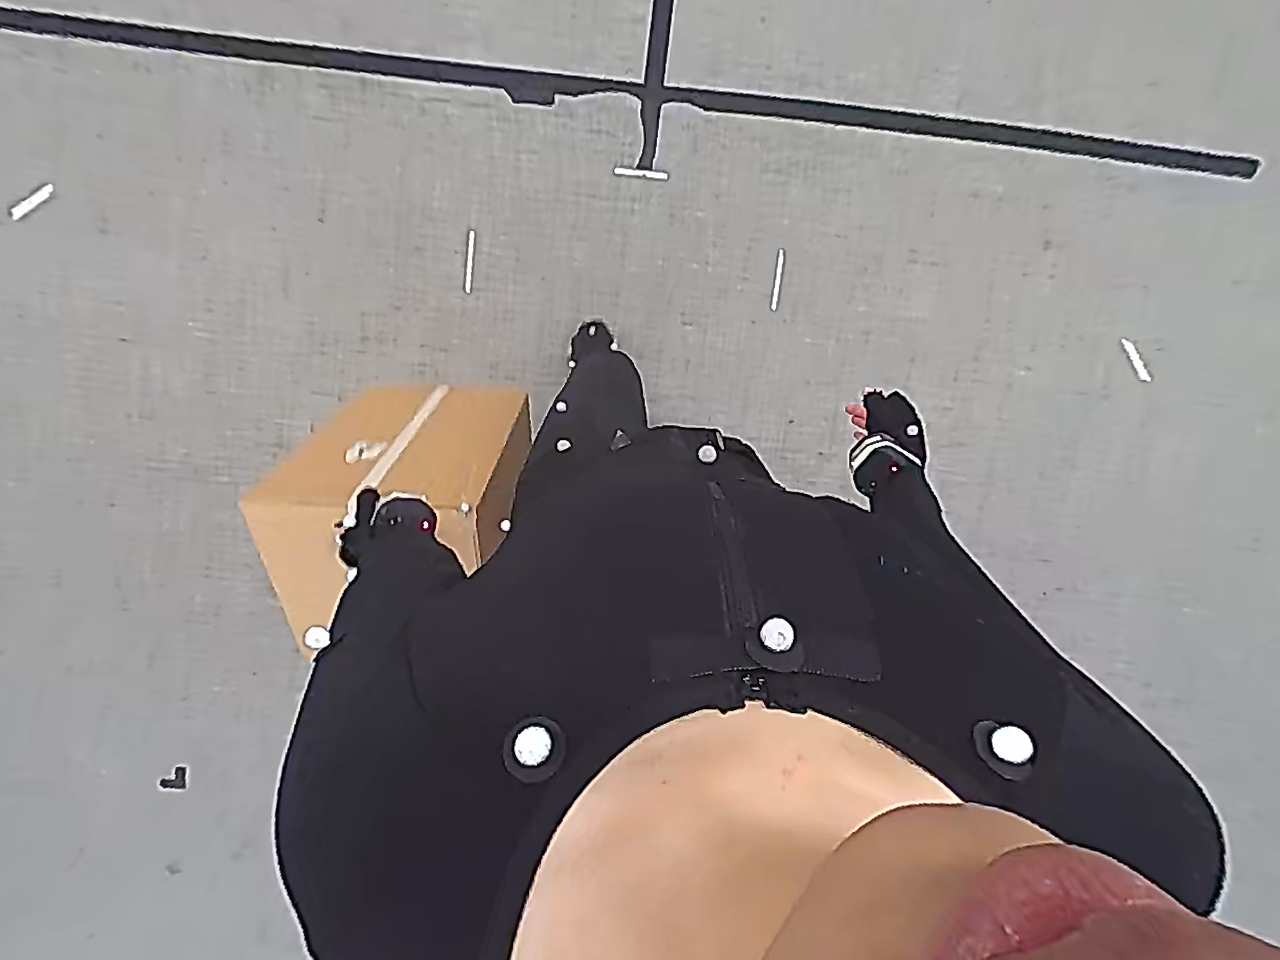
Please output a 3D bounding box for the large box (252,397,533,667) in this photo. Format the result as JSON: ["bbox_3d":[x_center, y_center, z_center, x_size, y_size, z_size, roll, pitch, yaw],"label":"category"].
[{"bbox_3d":[-0.381,0.073,0.973,0.320,0.408,0.320,0,121,0],"label":"large box"}]
